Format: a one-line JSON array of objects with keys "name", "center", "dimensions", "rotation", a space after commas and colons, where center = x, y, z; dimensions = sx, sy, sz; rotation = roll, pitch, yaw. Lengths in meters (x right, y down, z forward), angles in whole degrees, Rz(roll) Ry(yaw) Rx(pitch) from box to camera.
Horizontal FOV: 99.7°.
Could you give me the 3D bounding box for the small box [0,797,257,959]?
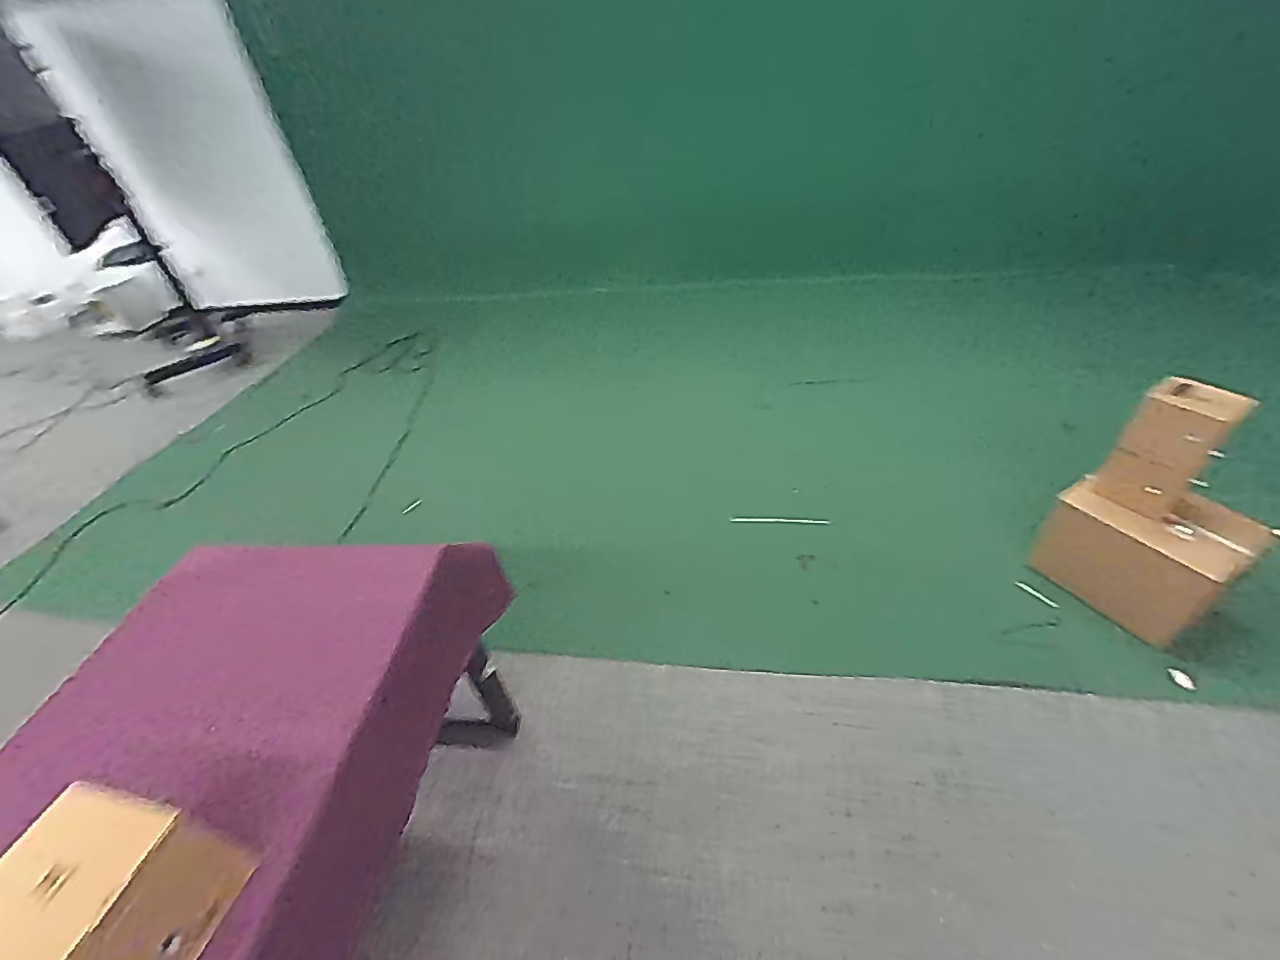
[{"name": "small box", "center": [-0.610, 0.503, 0.627], "dimensions": [0.179, 0.176, 0.168], "rotation": [4, 41, 14]}]
